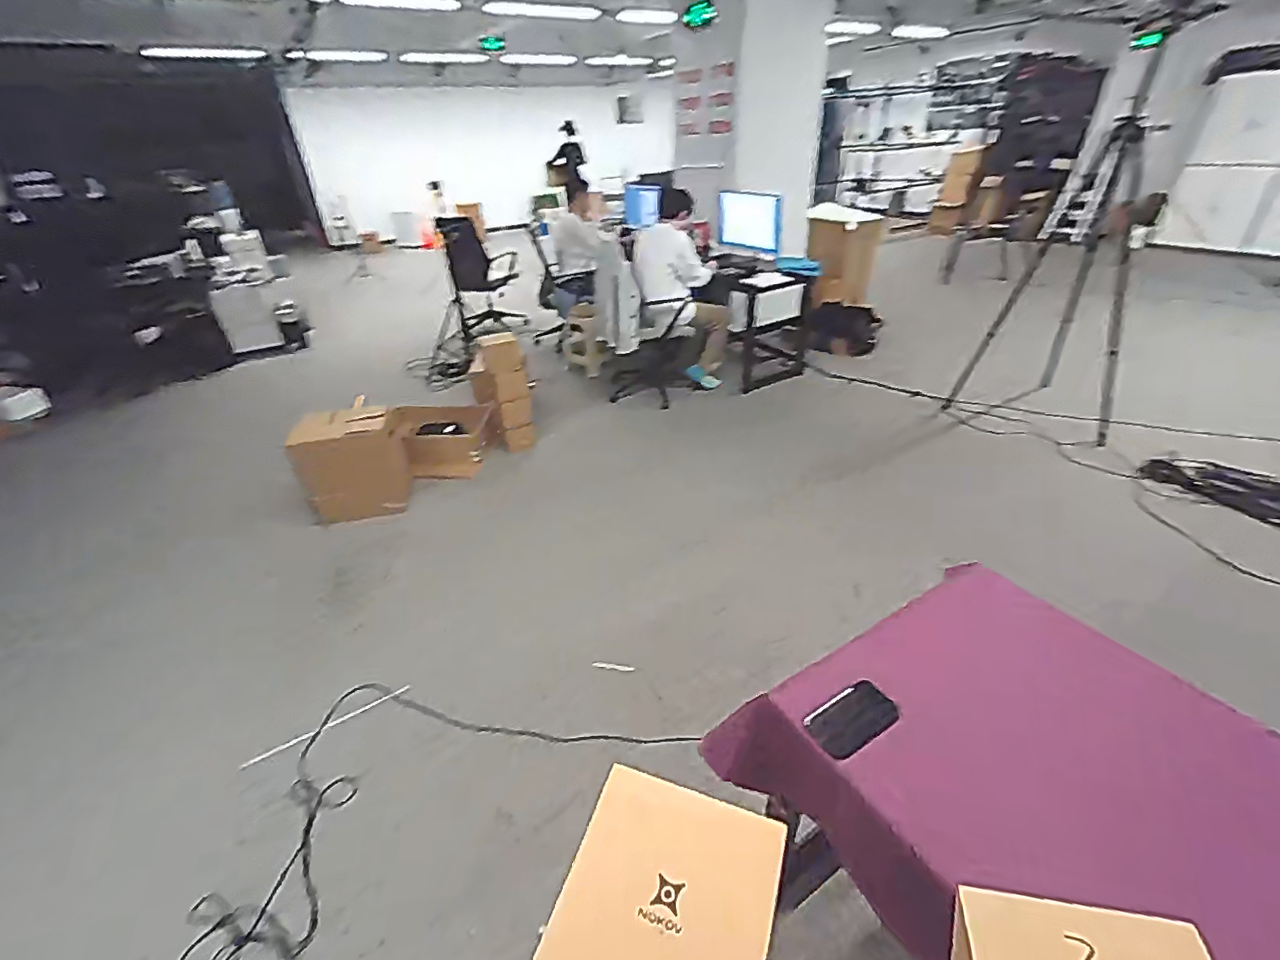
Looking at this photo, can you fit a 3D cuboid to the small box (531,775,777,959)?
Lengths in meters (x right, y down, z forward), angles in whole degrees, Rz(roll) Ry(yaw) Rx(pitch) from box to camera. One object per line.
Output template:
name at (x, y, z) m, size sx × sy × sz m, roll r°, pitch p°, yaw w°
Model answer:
small box at (0.019, 0.409, 0.479) m, size 0.168 × 0.176 × 0.179 m, roll 9°, pitch 39°, yaw 18°
